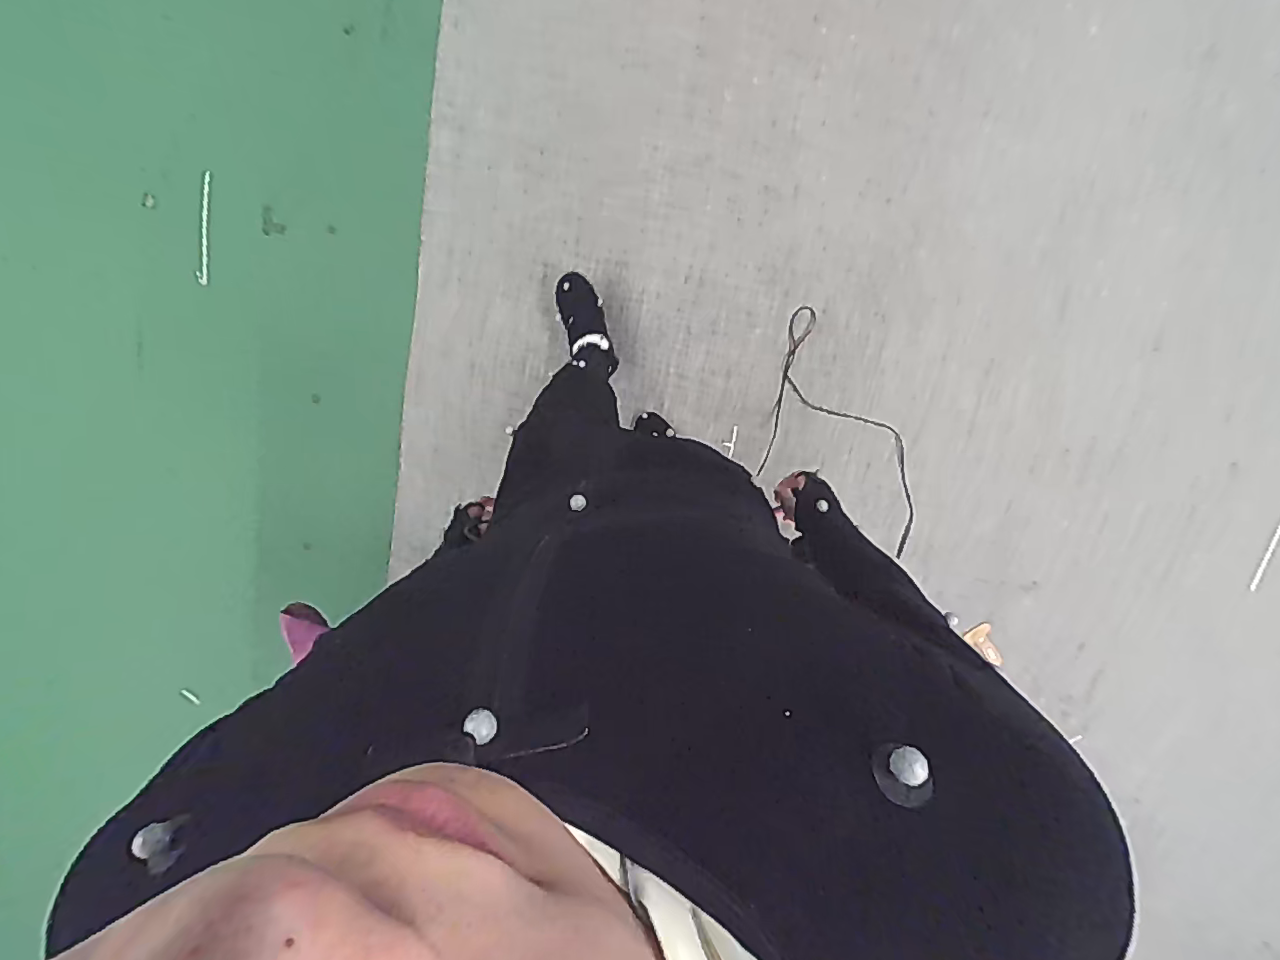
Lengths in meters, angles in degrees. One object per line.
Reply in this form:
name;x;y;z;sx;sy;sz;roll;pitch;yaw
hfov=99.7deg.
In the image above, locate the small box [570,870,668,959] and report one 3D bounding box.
small box;-0.043;0.885;1.009;0.168;0.176;0.179;11;102;4
